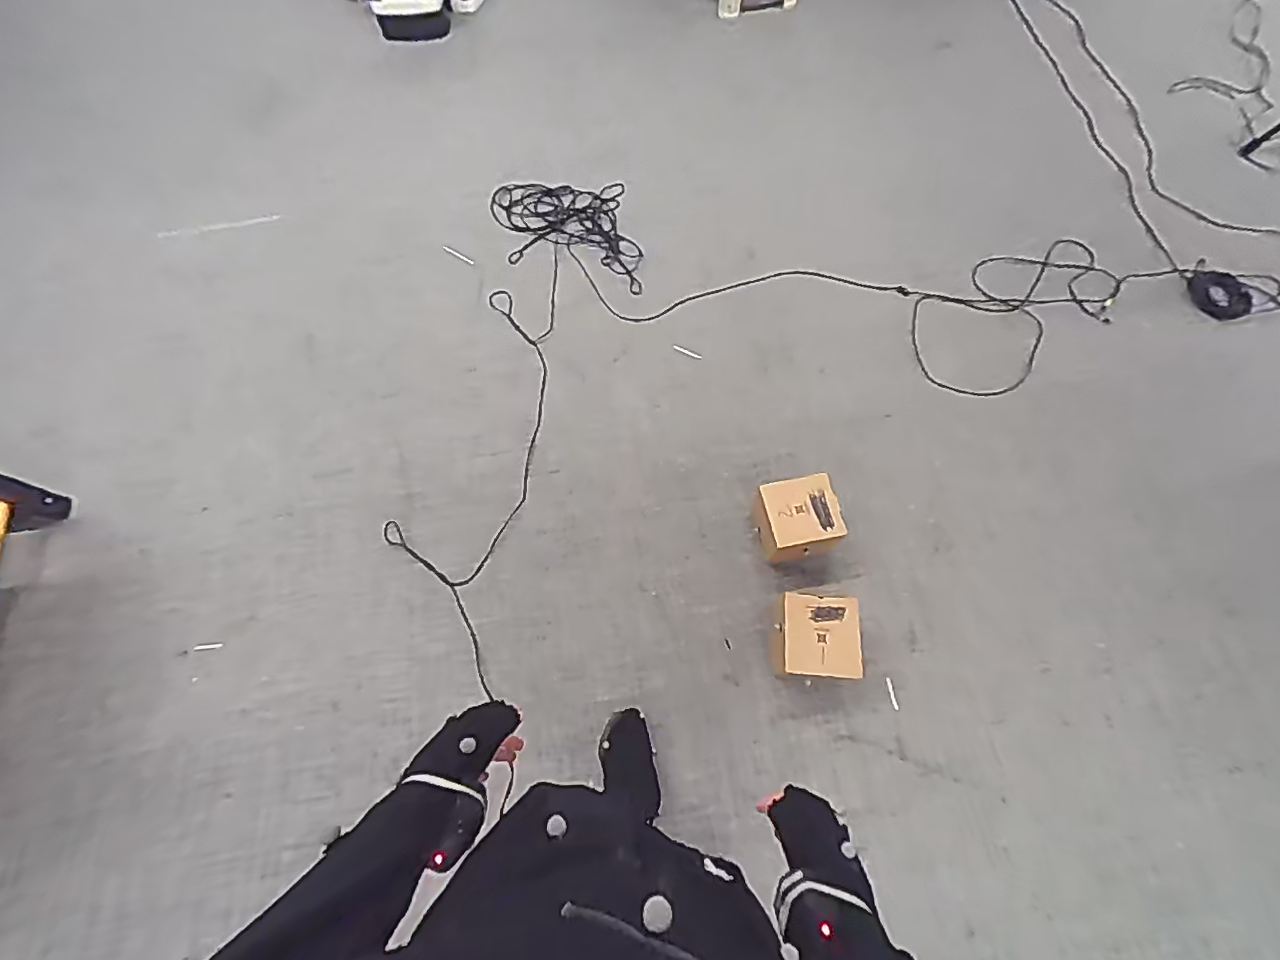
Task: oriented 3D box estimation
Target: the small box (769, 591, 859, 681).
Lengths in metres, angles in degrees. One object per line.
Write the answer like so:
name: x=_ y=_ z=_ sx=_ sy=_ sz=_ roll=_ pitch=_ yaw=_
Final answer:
small box: x=0.400 y=0.370 z=1.270 sx=0.168 sy=0.176 sz=0.179 roll=4 pitch=68 yaw=4
